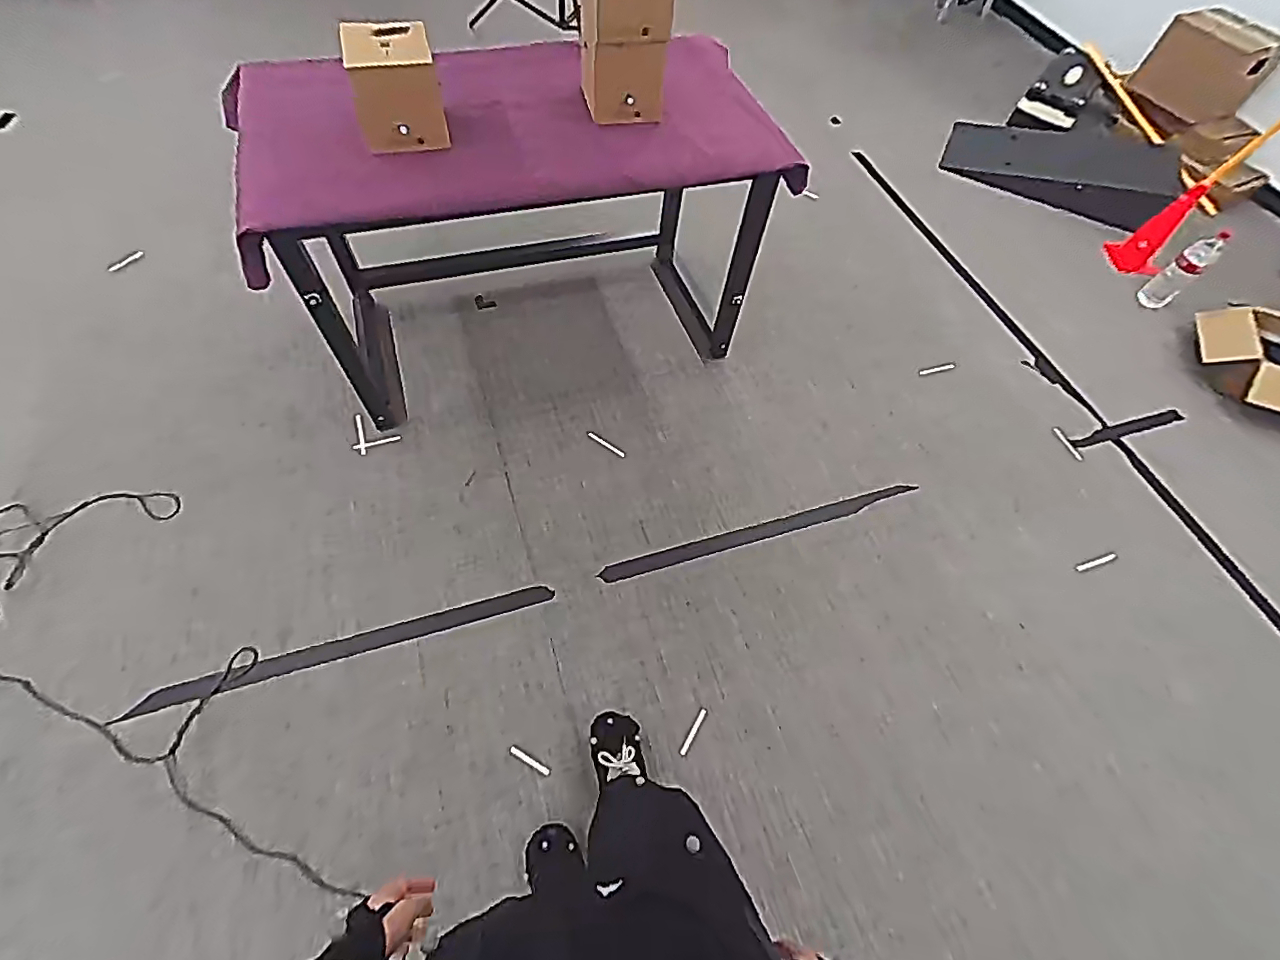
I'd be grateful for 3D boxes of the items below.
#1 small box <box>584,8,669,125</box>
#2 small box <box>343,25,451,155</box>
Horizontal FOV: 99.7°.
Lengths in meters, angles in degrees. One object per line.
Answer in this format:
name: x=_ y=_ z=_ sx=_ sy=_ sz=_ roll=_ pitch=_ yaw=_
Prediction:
small box: x=-0.039 y=-0.970 z=1.271 sx=0.168 sy=0.176 sz=0.179 roll=-10 pitch=62 yaw=-9
small box: x=-0.510 y=-0.825 z=1.147 sx=0.168 sy=0.176 sz=0.179 roll=-13 pitch=63 yaw=-12
